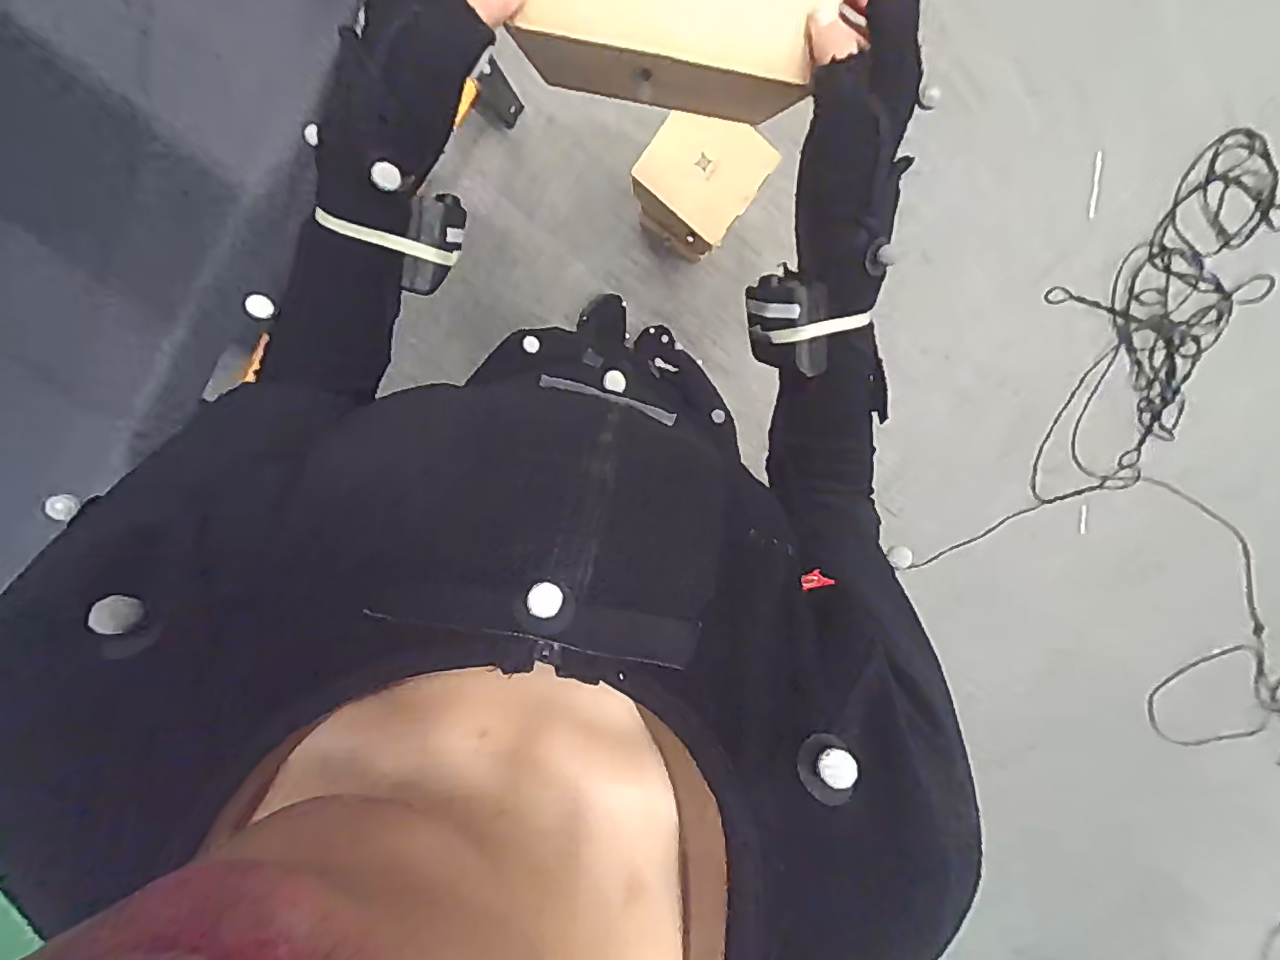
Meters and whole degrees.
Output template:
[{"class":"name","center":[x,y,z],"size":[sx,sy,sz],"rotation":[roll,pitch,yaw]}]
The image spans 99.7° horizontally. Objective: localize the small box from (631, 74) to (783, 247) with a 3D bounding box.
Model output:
[{"class":"small box","center":[0.103,-0.511,0.900],"size":[0.179,0.176,0.168],"rotation":[37,106,-12]}]
